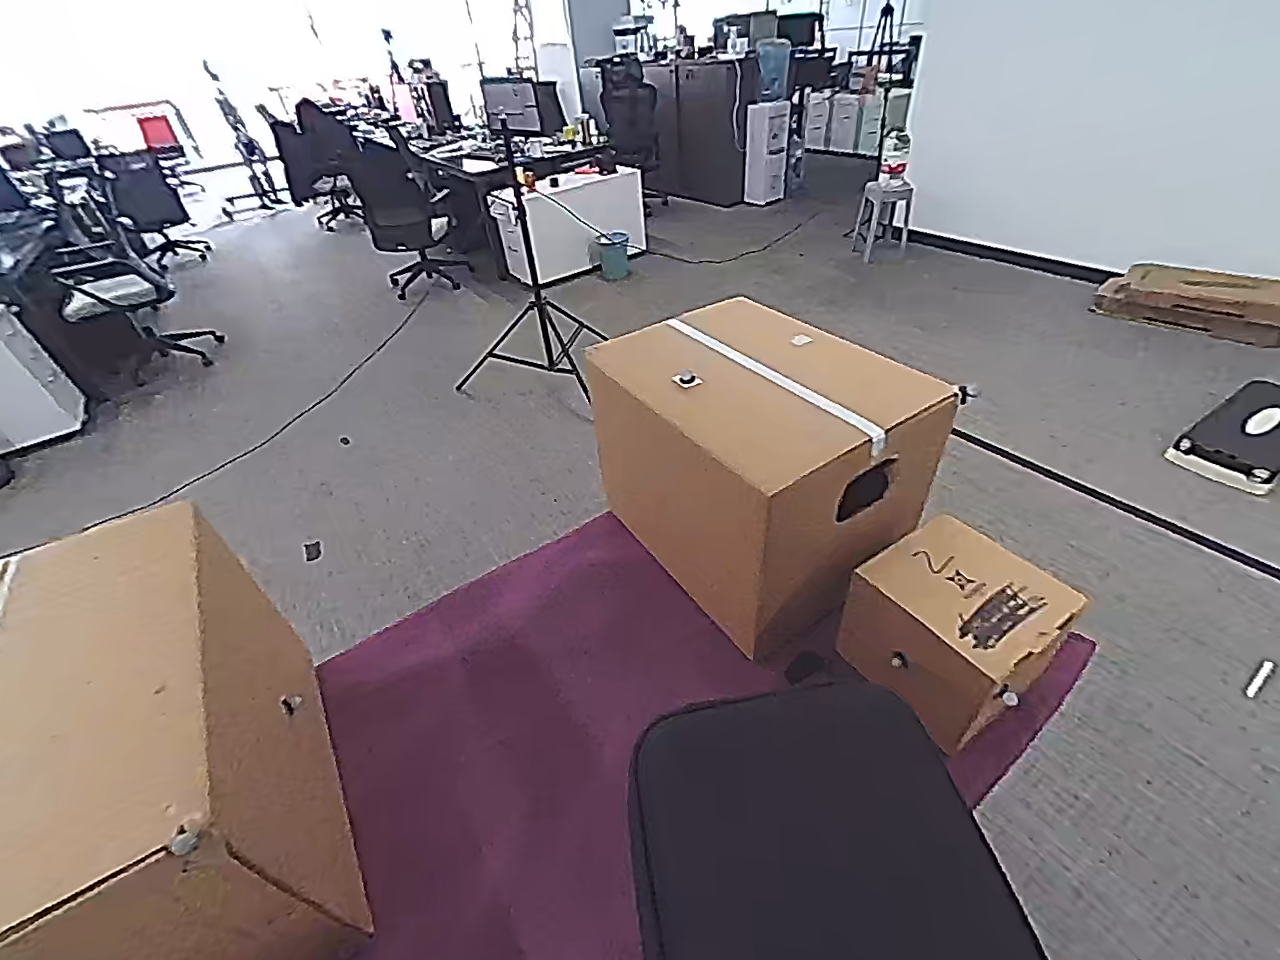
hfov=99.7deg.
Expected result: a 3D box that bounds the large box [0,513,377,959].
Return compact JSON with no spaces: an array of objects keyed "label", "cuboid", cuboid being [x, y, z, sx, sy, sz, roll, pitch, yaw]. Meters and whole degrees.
[{"label":"large box","cuboid":[-0.511,0.309,0.526,0.320,0.320,0.408,-27,46,-24]}]
